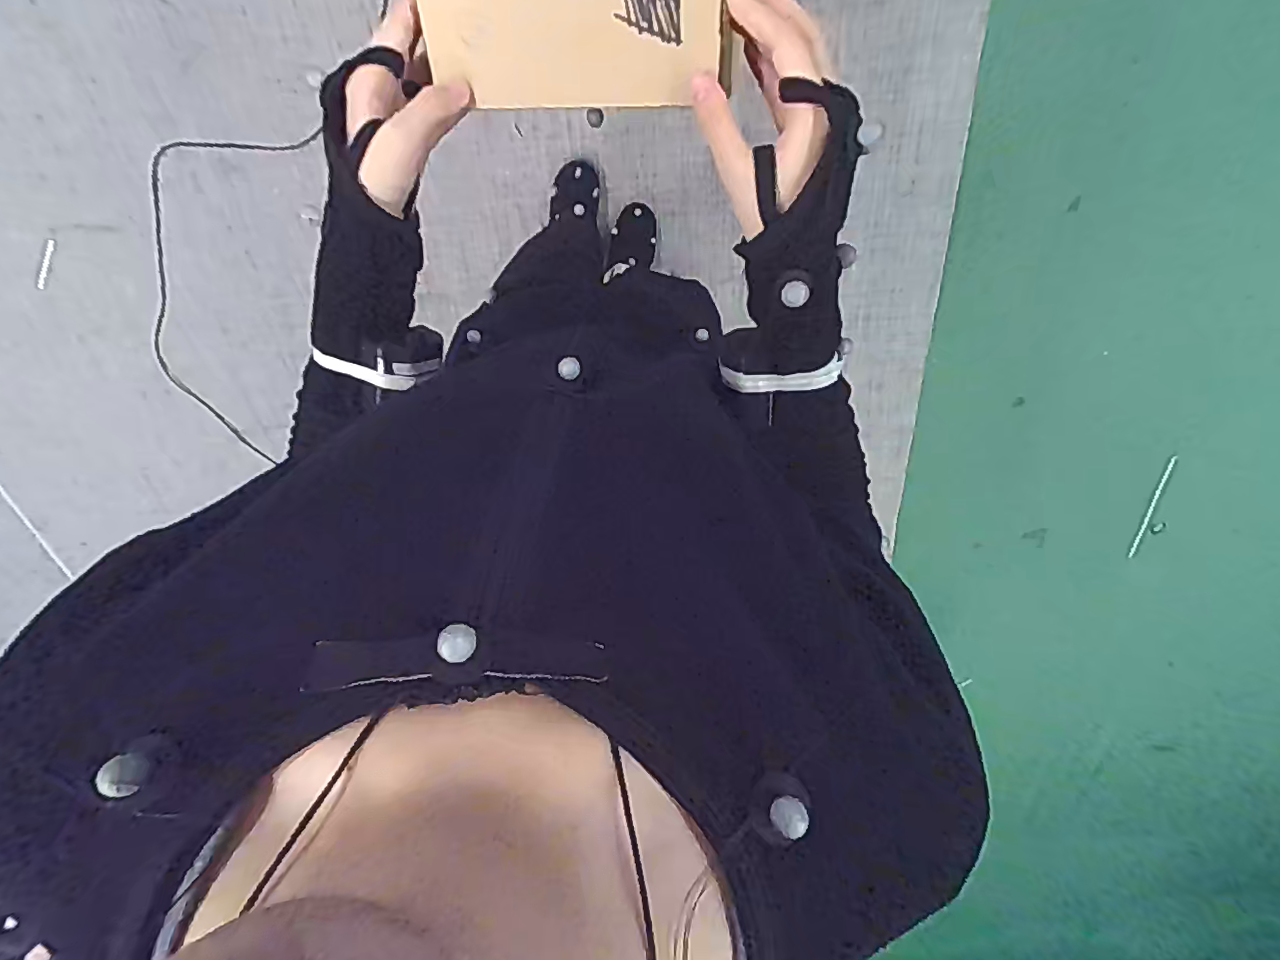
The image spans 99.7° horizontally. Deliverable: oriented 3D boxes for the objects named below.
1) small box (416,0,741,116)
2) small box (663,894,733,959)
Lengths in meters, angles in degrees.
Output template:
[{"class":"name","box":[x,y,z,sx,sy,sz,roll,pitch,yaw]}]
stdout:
[{"class":"small box","box":[-0.027,-0.333,0.334,0.179,0.176,0.168,8,130,12]},{"class":"small box","box":[0.155,1.232,1.432,0.179,0.176,0.168,-7,120,5]}]
